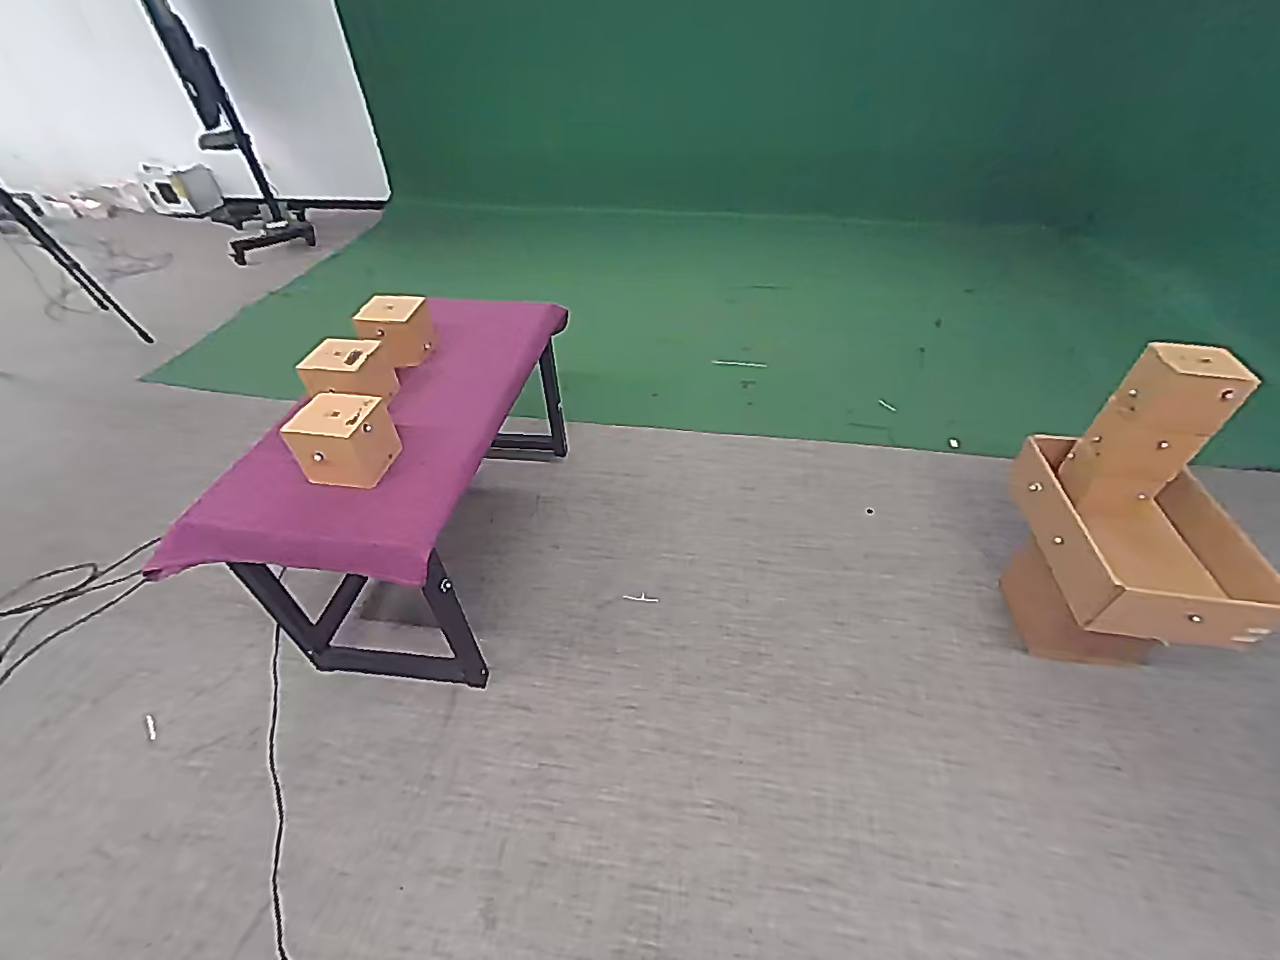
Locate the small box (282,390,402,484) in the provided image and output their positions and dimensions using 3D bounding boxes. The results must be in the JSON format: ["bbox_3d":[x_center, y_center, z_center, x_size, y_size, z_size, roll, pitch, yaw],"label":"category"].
[{"bbox_3d":[-0.734,-0.106,1.353,0.179,0.176,0.168,5,44,7],"label":"small box"}]

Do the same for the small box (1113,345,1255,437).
[{"bbox_3d":[1.416,-0.233,1.423,0.179,0.176,0.168,9,43,10],"label":"small box"}]

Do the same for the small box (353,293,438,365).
[{"bbox_3d":[-0.788,-0.492,1.763,0.179,0.176,0.168,5,45,5],"label":"small box"}]

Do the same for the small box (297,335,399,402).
[{"bbox_3d":[-0.829,-0.298,1.558,0.179,0.176,0.168,4,44,6],"label":"small box"}]

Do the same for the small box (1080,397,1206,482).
[{"bbox_3d":[1.414,-0.112,1.536,0.179,0.176,0.168,8,43,8],"label":"small box"}]
